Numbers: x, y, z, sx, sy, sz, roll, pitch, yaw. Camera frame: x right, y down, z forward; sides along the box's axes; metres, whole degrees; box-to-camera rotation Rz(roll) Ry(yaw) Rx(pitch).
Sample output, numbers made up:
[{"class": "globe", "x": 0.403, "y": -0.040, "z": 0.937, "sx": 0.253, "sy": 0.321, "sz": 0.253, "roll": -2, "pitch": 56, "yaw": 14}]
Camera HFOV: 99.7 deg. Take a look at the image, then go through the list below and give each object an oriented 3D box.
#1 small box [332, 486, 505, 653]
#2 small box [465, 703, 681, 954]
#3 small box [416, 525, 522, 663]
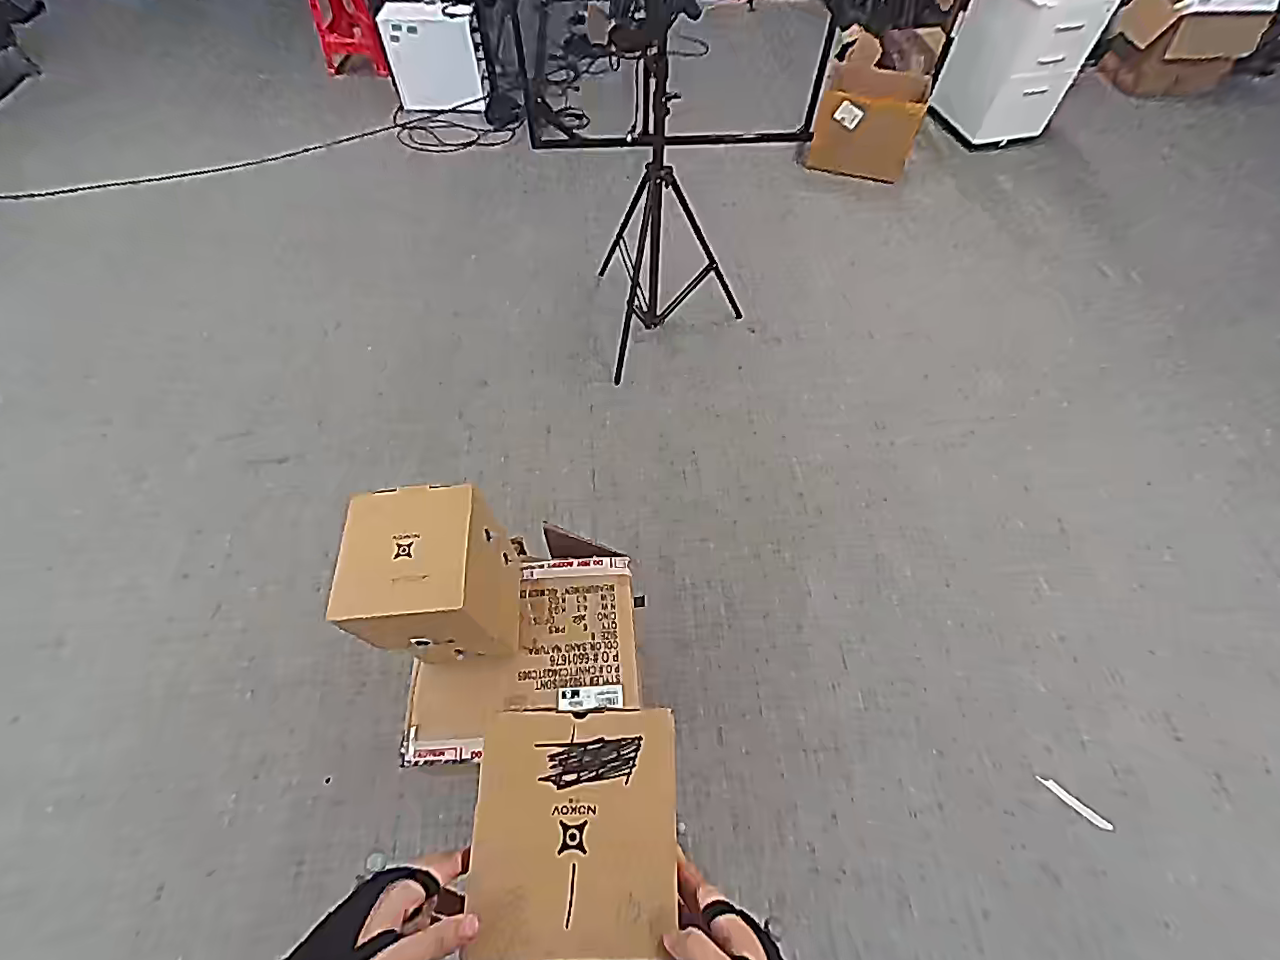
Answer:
[{"class": "small box", "x": -0.291, "y": 0.129, "z": 0.754, "sx": 0.168, "sy": 0.176, "sz": 0.179, "roll": -6, "pitch": 61, "yaw": -1}, {"class": "small box", "x": -0.052, "y": 0.315, "z": 0.515, "sx": 0.168, "sy": 0.176, "sz": 0.179, "roll": 1, "pitch": 63, "yaw": -1}, {"class": "small box", "x": -0.296, "y": 0.194, "z": 0.905, "sx": 0.168, "sy": 0.176, "sz": 0.179, "roll": -5, "pitch": 60, "yaw": -1}]
